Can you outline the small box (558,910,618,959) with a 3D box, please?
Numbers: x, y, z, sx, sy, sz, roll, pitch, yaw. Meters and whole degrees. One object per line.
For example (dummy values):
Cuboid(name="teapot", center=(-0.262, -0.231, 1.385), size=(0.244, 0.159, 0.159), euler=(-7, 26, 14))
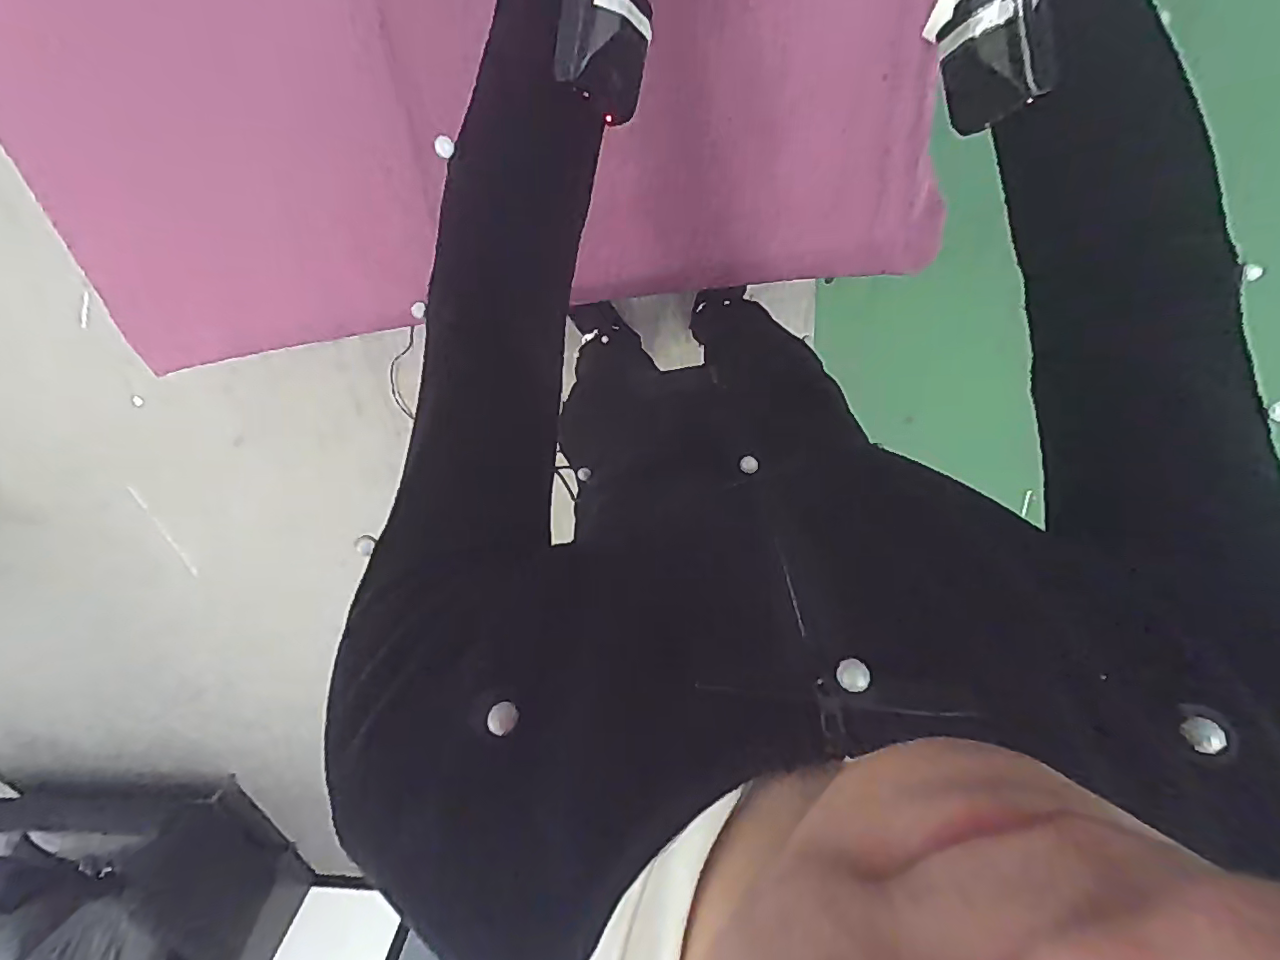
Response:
Cuboid(name="small box", center=(-0.176, 1.606, 1.843), size=(0.168, 0.176, 0.179), euler=(-3, 119, 11))
